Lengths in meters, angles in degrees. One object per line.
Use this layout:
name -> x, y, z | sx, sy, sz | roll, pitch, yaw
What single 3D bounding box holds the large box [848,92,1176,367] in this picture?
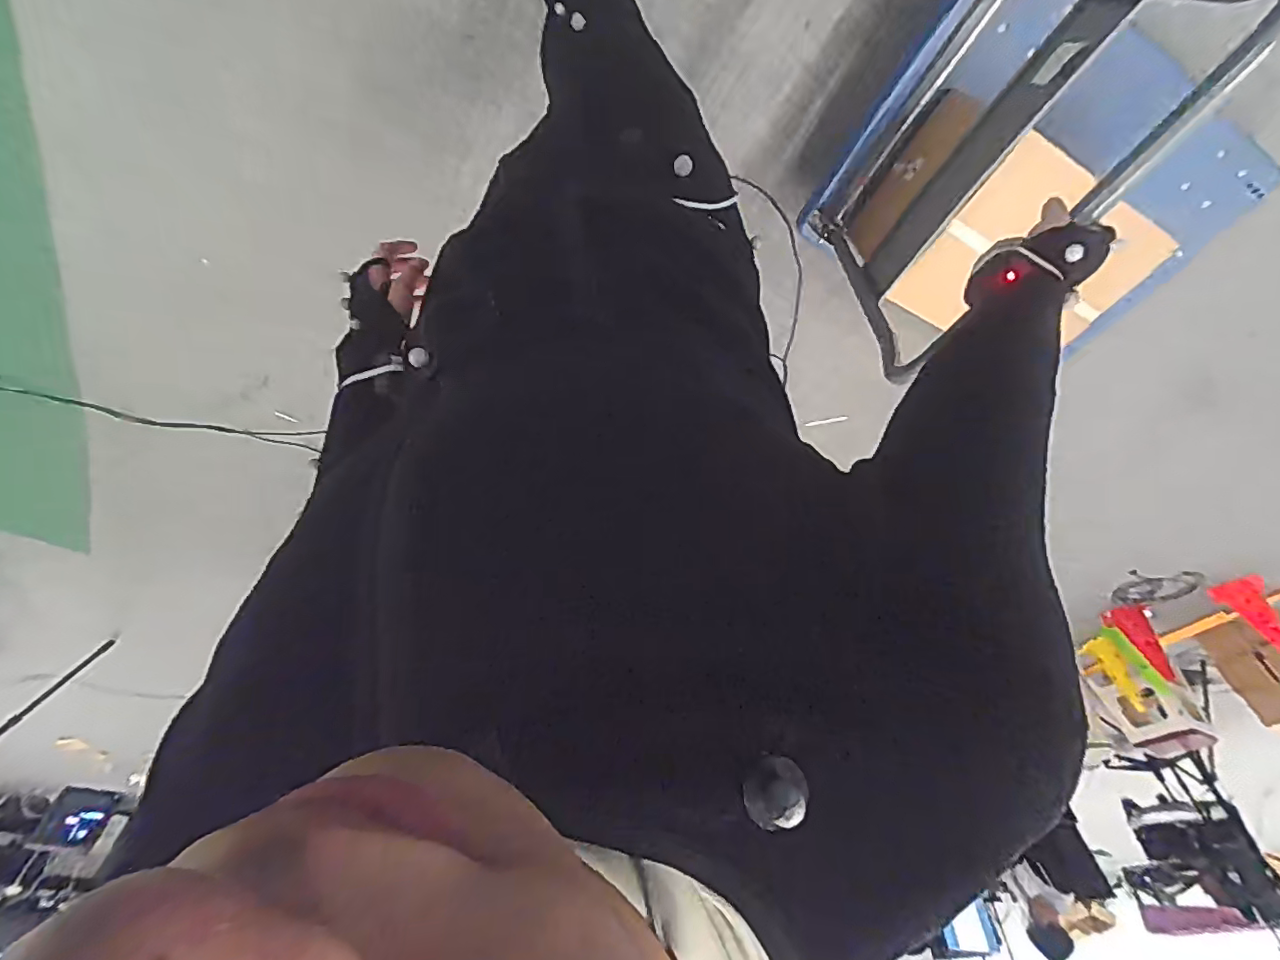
large box -> 0.715, -0.502, 1.104 | 0.408, 0.320, 0.320 | 19, 133, -19
